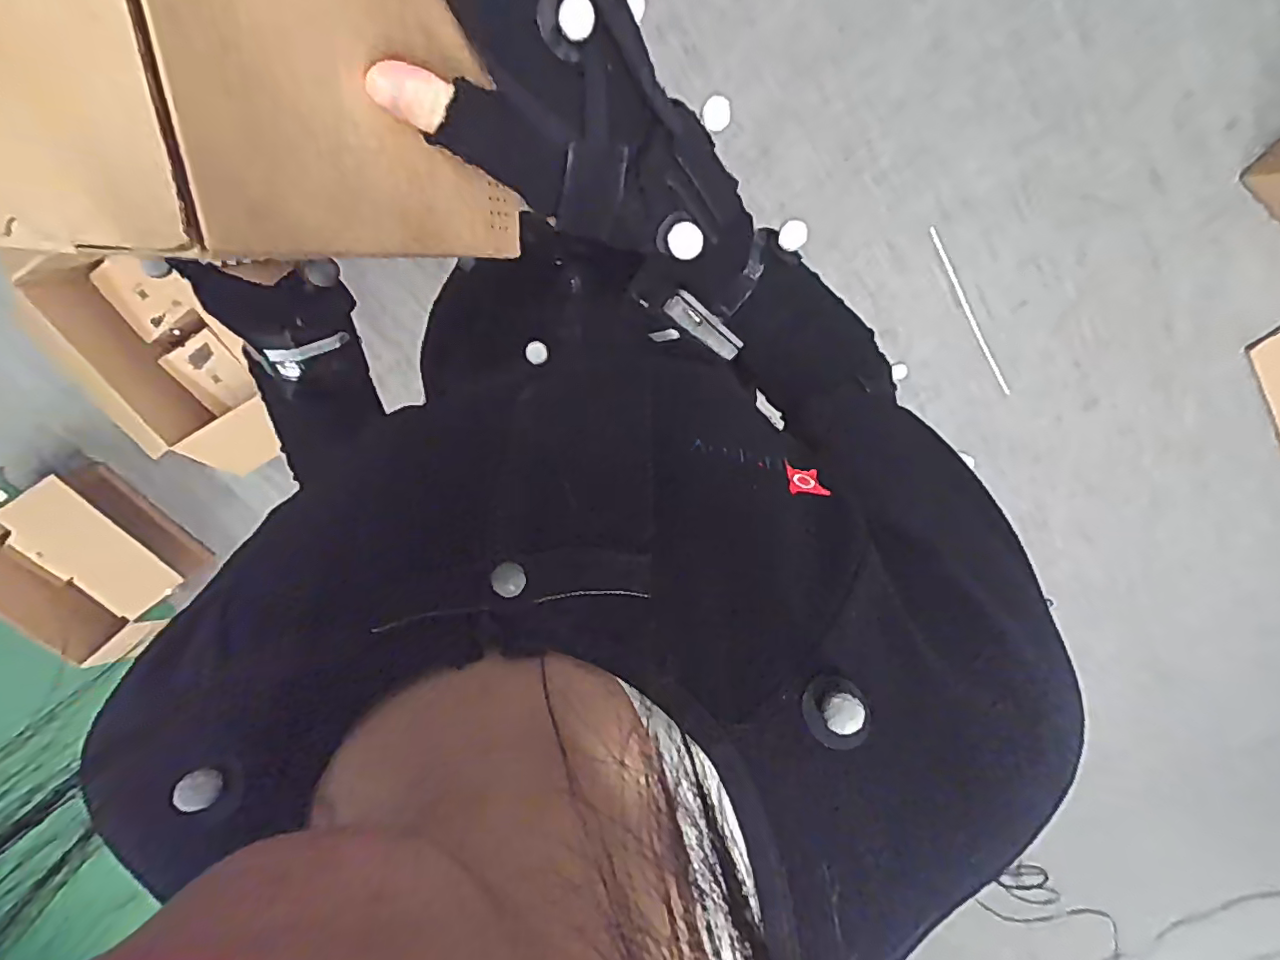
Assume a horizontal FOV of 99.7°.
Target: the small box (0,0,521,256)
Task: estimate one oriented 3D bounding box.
[{"bbox_3d":[-0.160,-0.185,0.207,0.168,0.176,0.179,10,115,17],"label":"small box"}]
